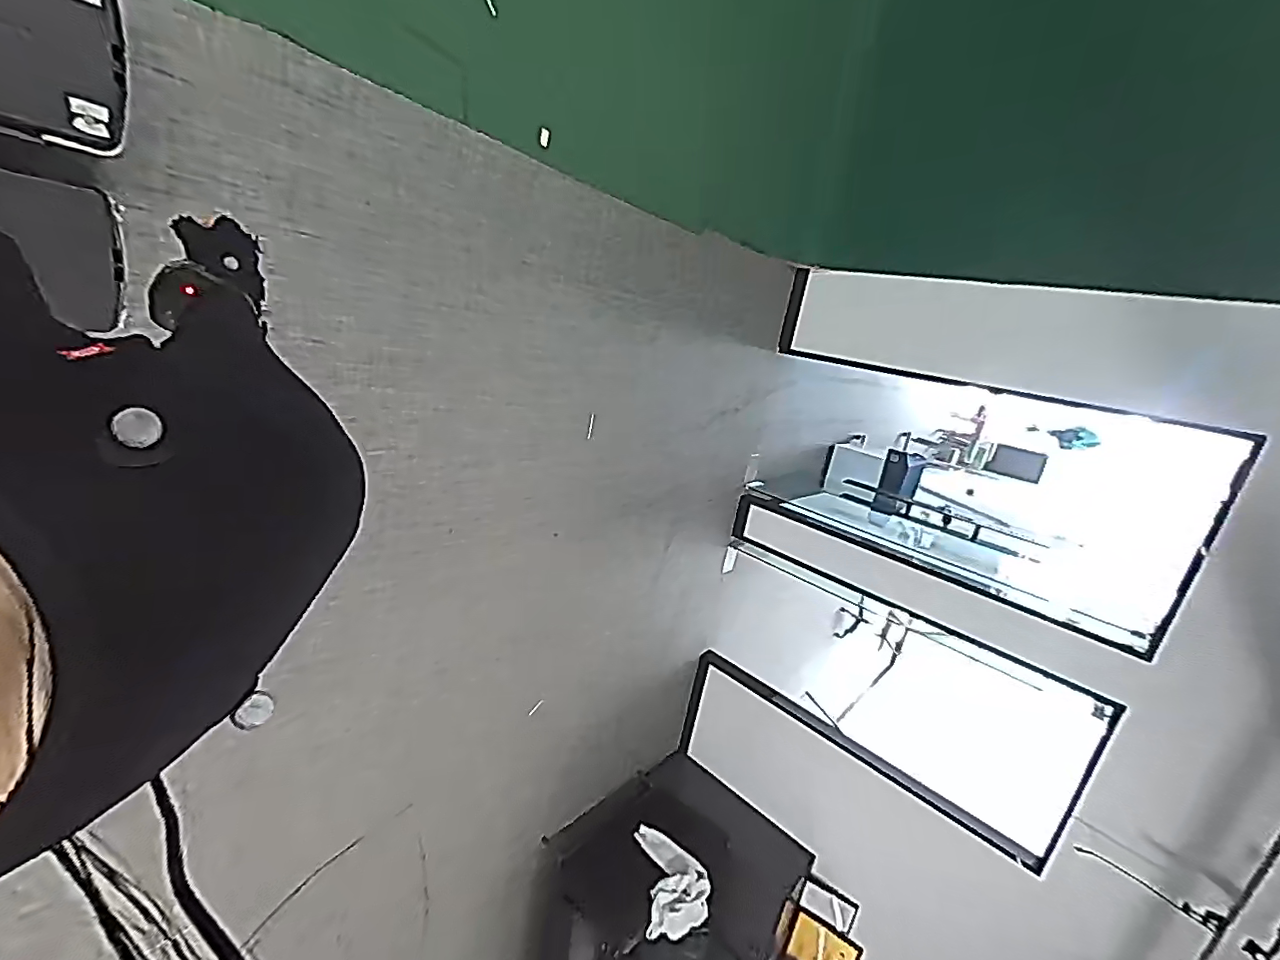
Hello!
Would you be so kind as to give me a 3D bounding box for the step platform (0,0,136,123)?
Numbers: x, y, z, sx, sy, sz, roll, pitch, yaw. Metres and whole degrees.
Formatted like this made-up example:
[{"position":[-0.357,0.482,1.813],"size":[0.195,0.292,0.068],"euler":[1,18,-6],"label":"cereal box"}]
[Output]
[{"position":[-1.024,-0.672,0.588],"size":[0.684,0.204,0.286],"euler":[-6,114,-48],"label":"step platform"}]
